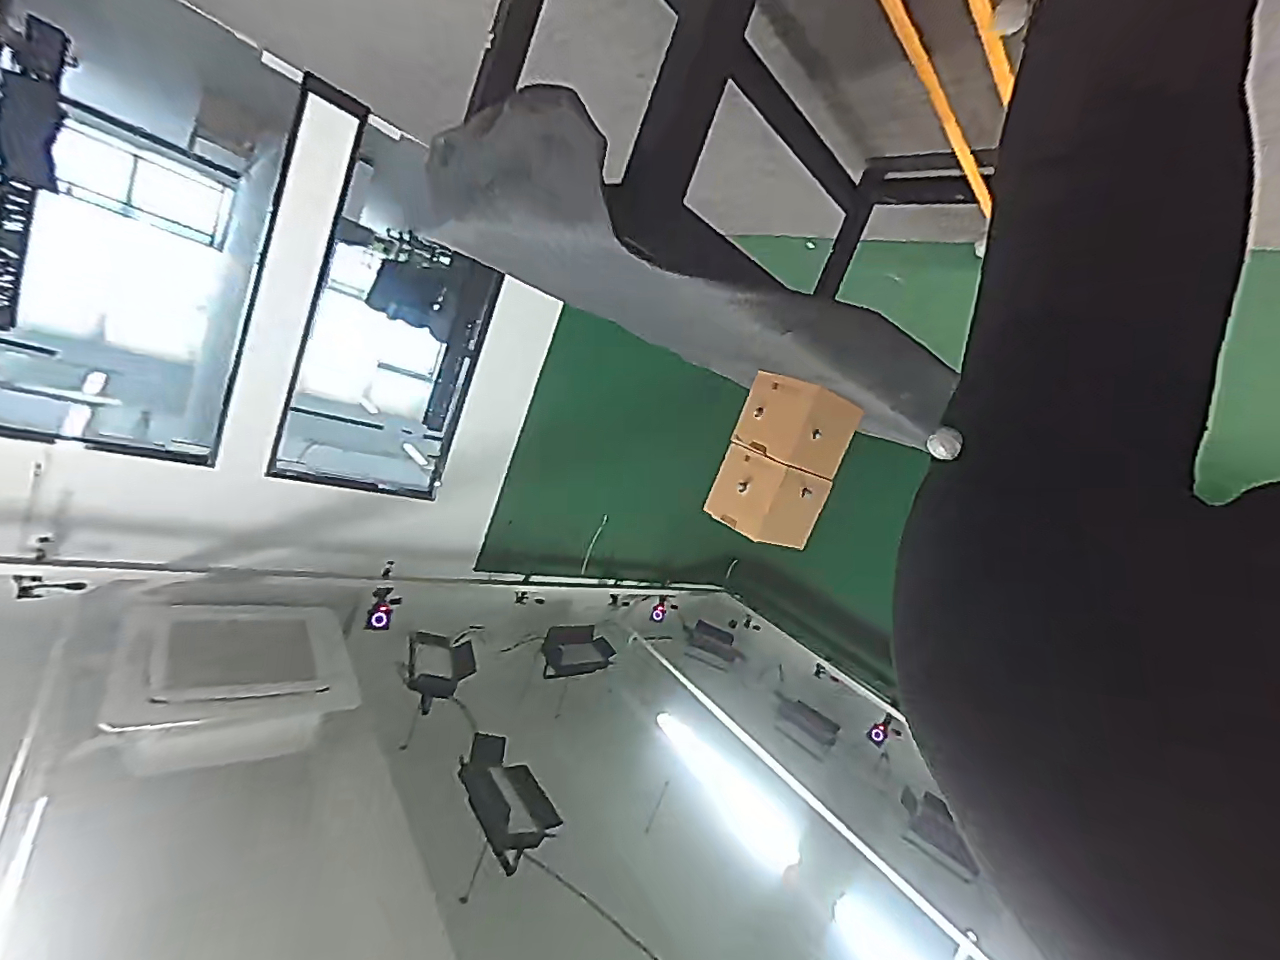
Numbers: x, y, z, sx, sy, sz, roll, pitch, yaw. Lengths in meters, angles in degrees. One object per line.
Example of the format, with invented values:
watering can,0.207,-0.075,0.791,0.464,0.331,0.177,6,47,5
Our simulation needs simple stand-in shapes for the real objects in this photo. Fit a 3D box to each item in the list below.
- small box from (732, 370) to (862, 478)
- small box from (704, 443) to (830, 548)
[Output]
small box,0.335,-0.122,1.154,0.179,0.176,0.168,13,-167,-39
small box,0.279,0.030,1.183,0.179,0.176,0.168,14,-168,-40
